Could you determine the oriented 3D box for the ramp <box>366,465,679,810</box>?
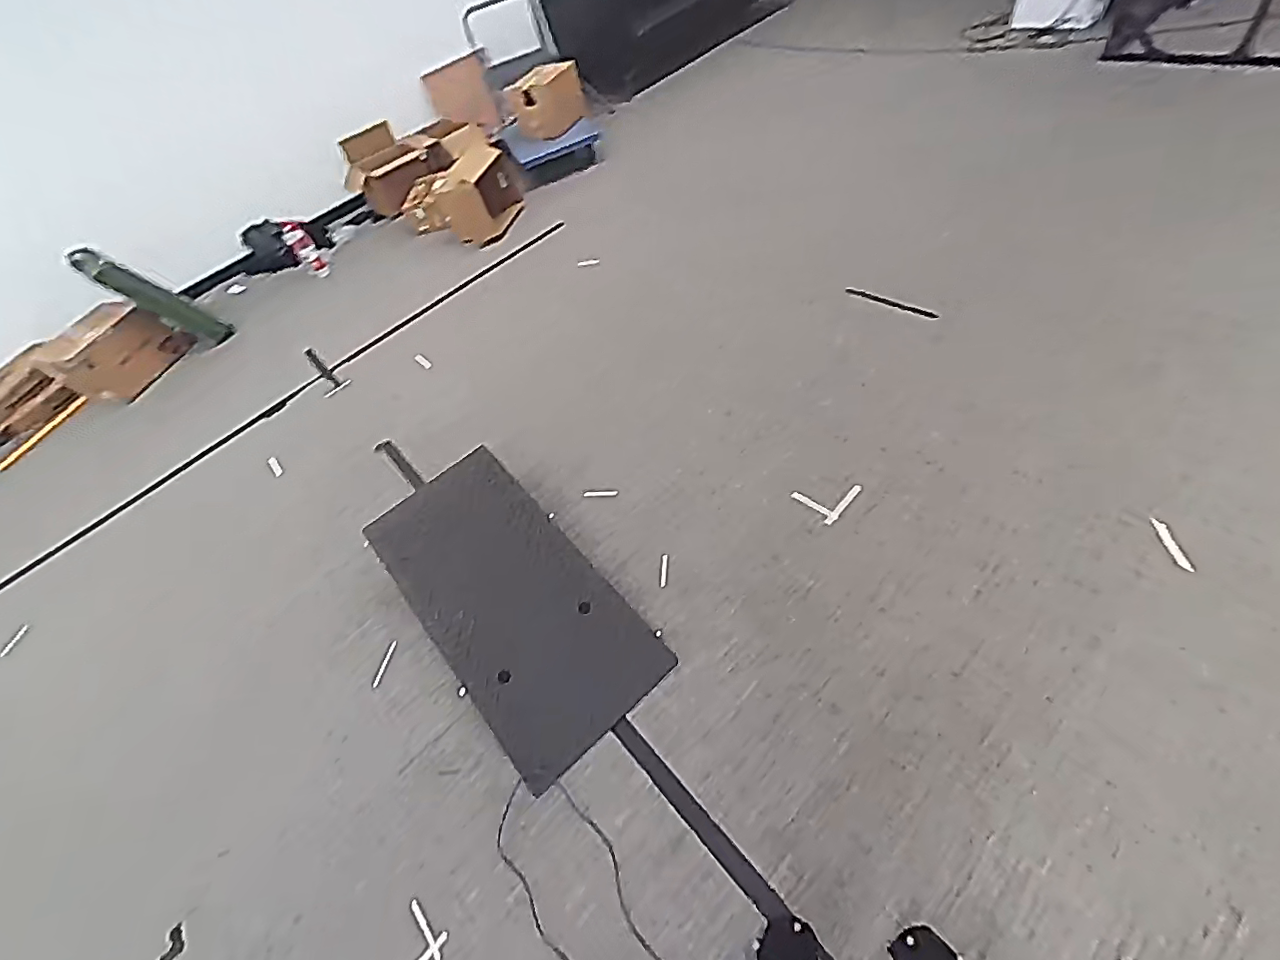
[{"bbox_3d":[-0.392,0.385,1.631,0.509,0.206,0.991,-41,52,-19],"label":"ramp"}]
